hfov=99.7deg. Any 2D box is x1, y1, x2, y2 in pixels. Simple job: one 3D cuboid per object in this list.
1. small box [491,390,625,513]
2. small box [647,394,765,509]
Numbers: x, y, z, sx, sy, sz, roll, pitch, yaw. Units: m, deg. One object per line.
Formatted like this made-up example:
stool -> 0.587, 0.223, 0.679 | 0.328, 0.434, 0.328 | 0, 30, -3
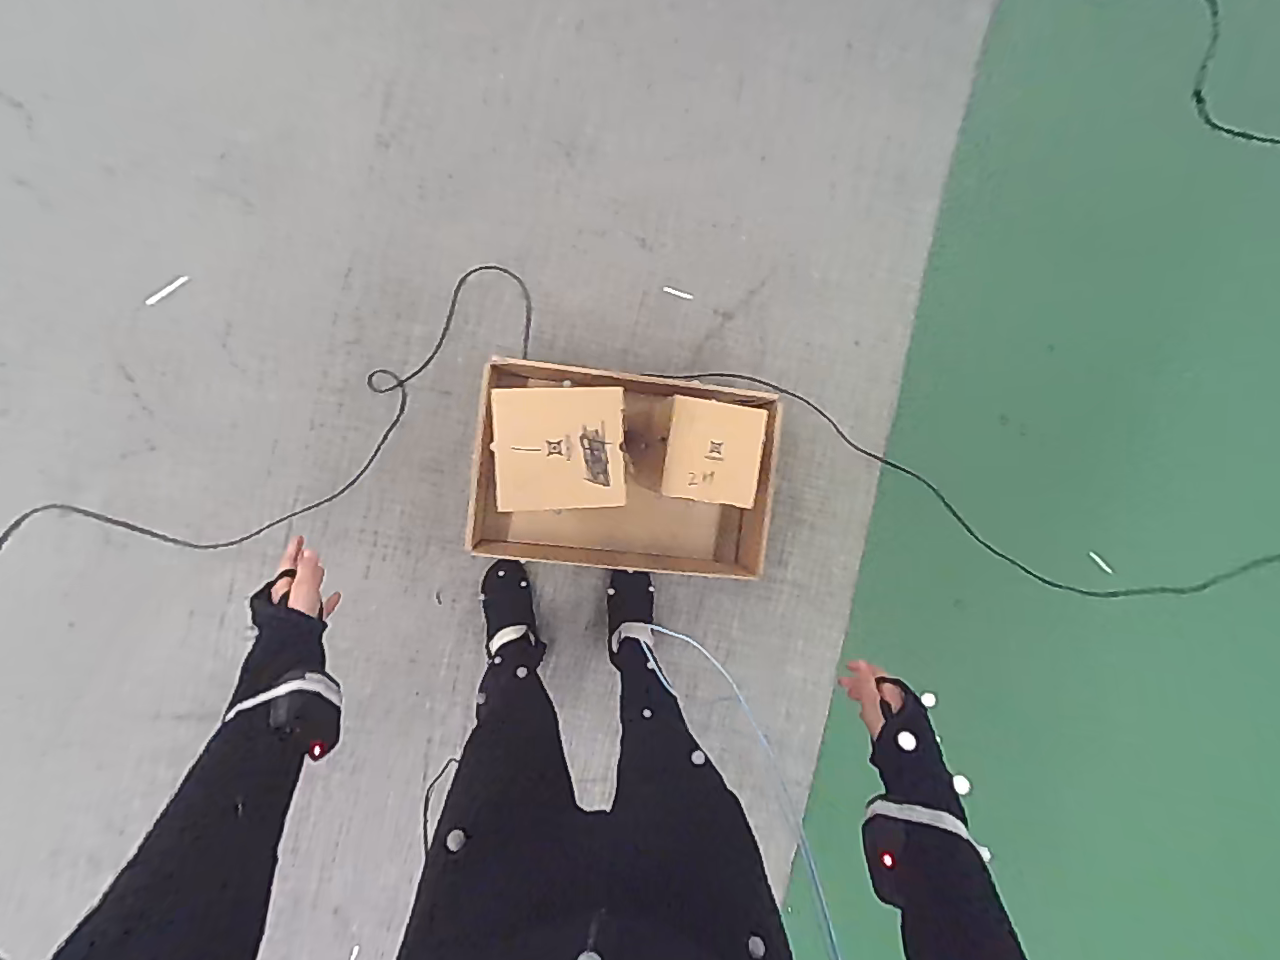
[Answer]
small box -> -0.122, -0.045, 0.808 | 0.179, 0.176, 0.168 | -3, 94, -8
small box -> 0.113, -0.051, 1.003 | 0.168, 0.176, 0.179 | 9, 92, -7
